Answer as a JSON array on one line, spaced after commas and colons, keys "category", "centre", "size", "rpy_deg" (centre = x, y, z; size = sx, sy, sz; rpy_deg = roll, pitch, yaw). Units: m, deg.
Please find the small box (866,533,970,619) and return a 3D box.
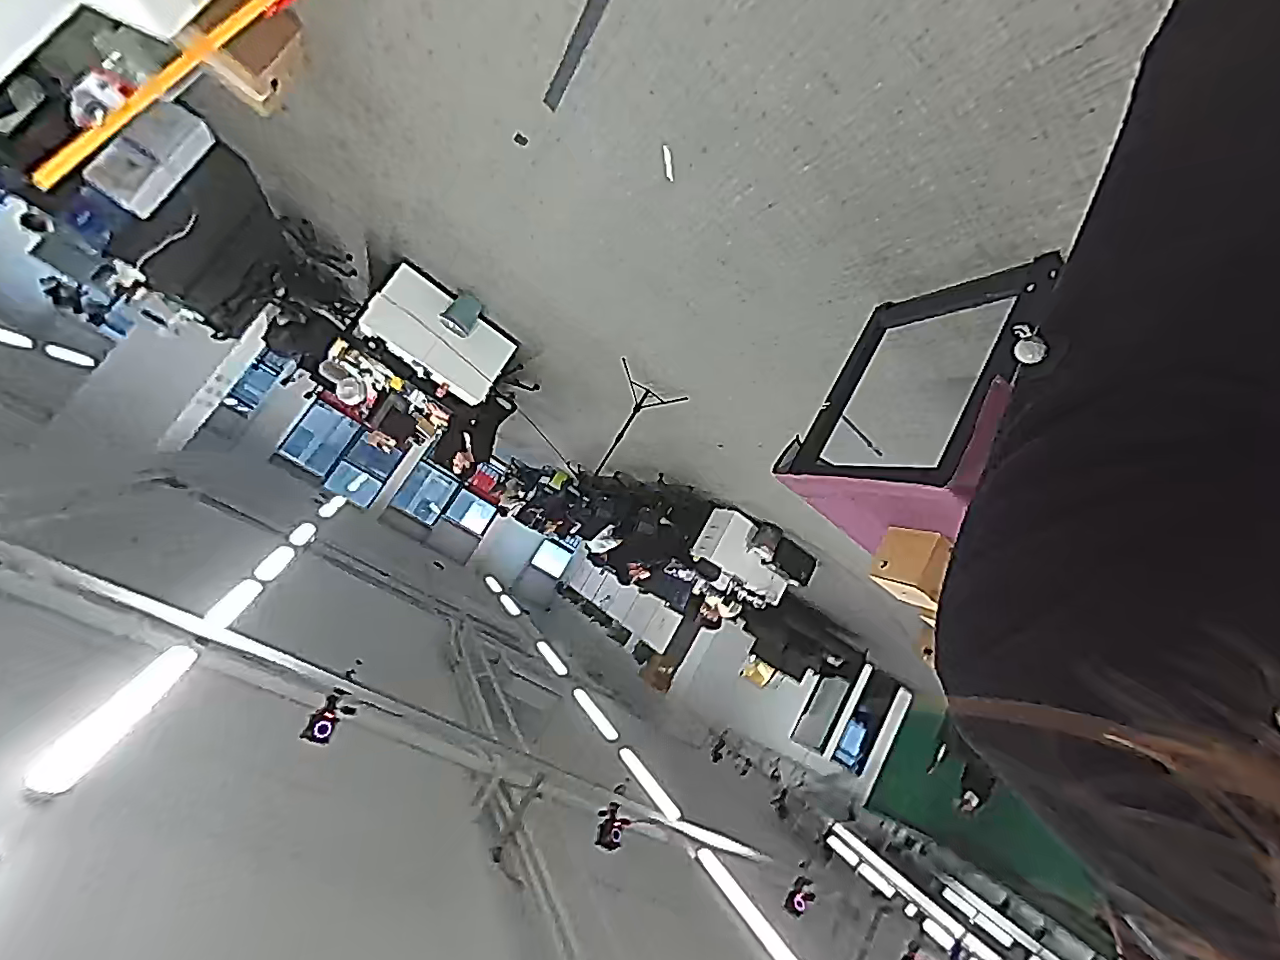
[{"category": "small box", "centre": [0.794, 0.266, 1.545], "size": [0.168, 0.176, 0.179], "rpy_deg": [35, 168, -21]}]
